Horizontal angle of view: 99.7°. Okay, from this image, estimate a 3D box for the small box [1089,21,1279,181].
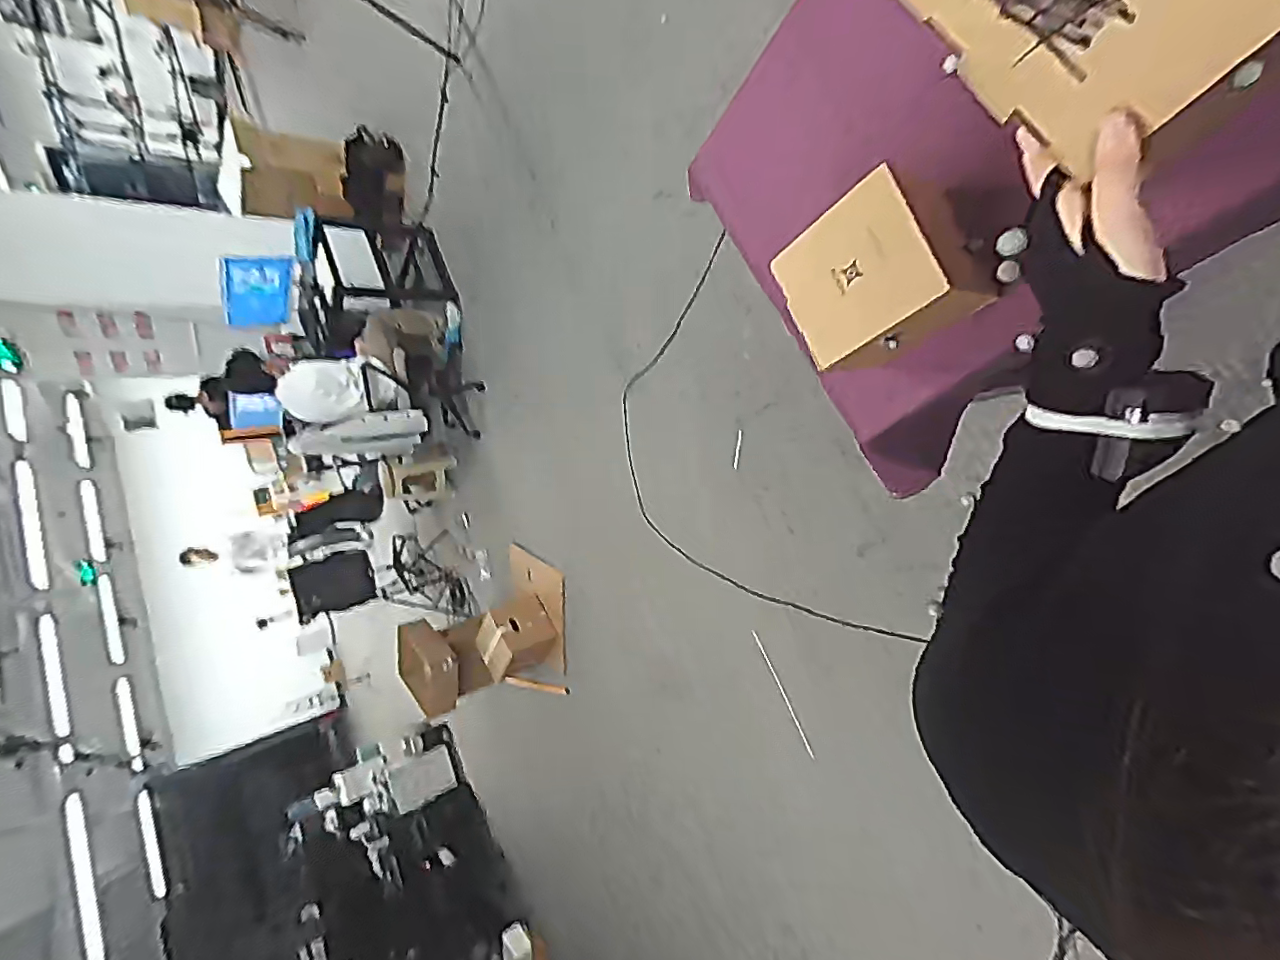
[{"bbox_3d":[0.458,-0.409,0.484,0.179,0.176,0.168,-38,70,48],"label":"small box"}]

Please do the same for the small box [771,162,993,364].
[{"bbox_3d":[0.311,-0.265,0.703,0.179,0.176,0.168,-32,76,49],"label":"small box"}]

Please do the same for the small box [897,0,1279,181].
[{"bbox_3d":[0.287,-0.308,0.310,0.168,0.176,0.179,49,135,2],"label":"small box"}]
